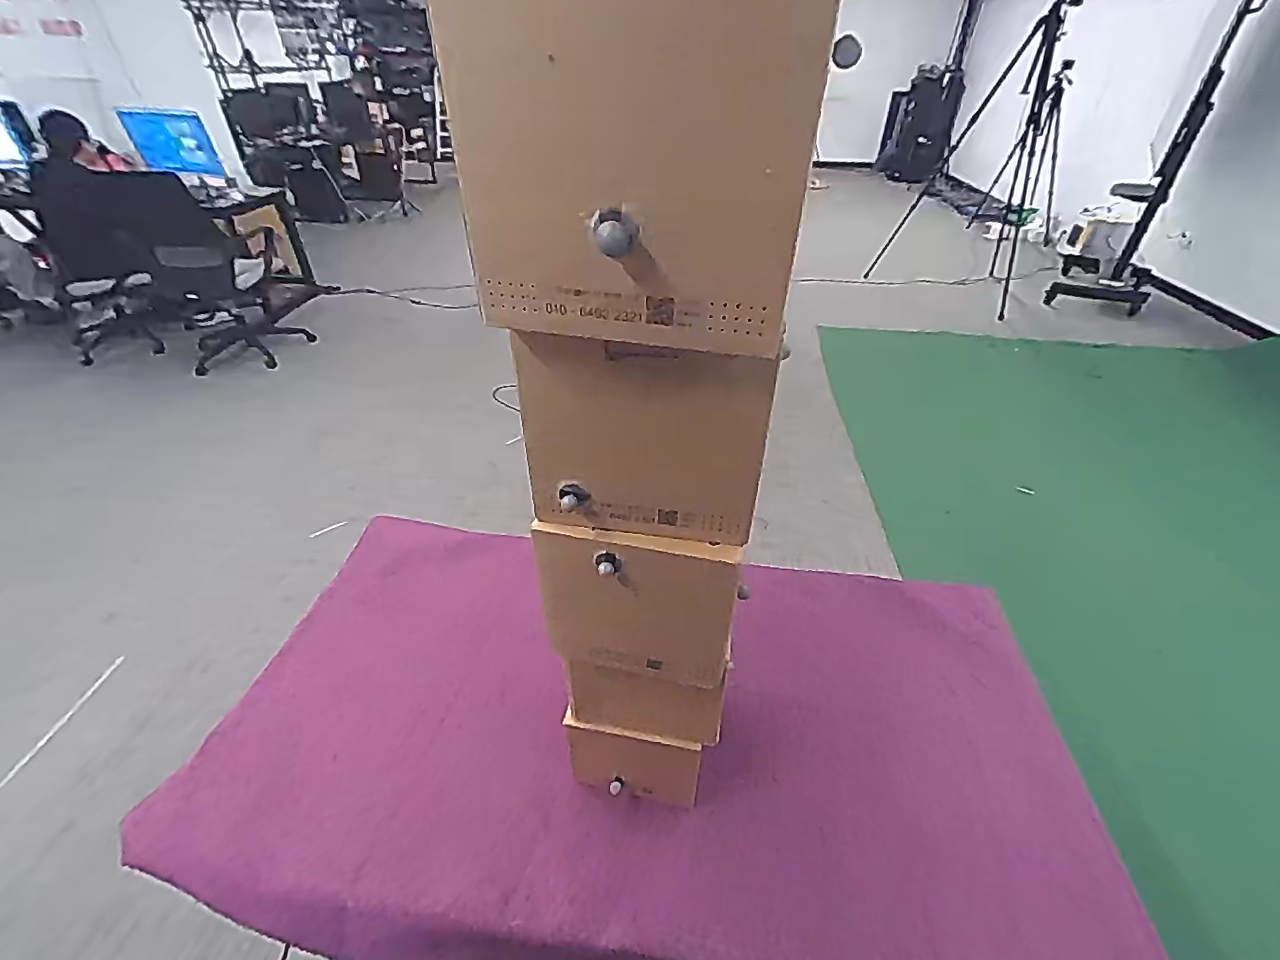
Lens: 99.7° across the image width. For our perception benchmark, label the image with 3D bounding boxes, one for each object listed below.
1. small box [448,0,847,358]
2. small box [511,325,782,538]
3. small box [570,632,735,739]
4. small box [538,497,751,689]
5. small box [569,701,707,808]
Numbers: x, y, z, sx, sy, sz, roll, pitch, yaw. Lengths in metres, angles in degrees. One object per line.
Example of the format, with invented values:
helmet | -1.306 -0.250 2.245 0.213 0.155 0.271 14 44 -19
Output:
small box | 0.014 -0.188 0.303 0.168 0.176 0.179 9 40 12
small box | 0.016 -0.075 0.425 0.168 0.176 0.179 6 38 7
small box | 0.018 0.178 0.635 0.179 0.176 0.168 7 39 8
small box | 0.016 0.064 0.515 0.168 0.176 0.179 8 38 10
small box | 0.011 0.305 0.734 0.168 0.176 0.179 7 39 10
